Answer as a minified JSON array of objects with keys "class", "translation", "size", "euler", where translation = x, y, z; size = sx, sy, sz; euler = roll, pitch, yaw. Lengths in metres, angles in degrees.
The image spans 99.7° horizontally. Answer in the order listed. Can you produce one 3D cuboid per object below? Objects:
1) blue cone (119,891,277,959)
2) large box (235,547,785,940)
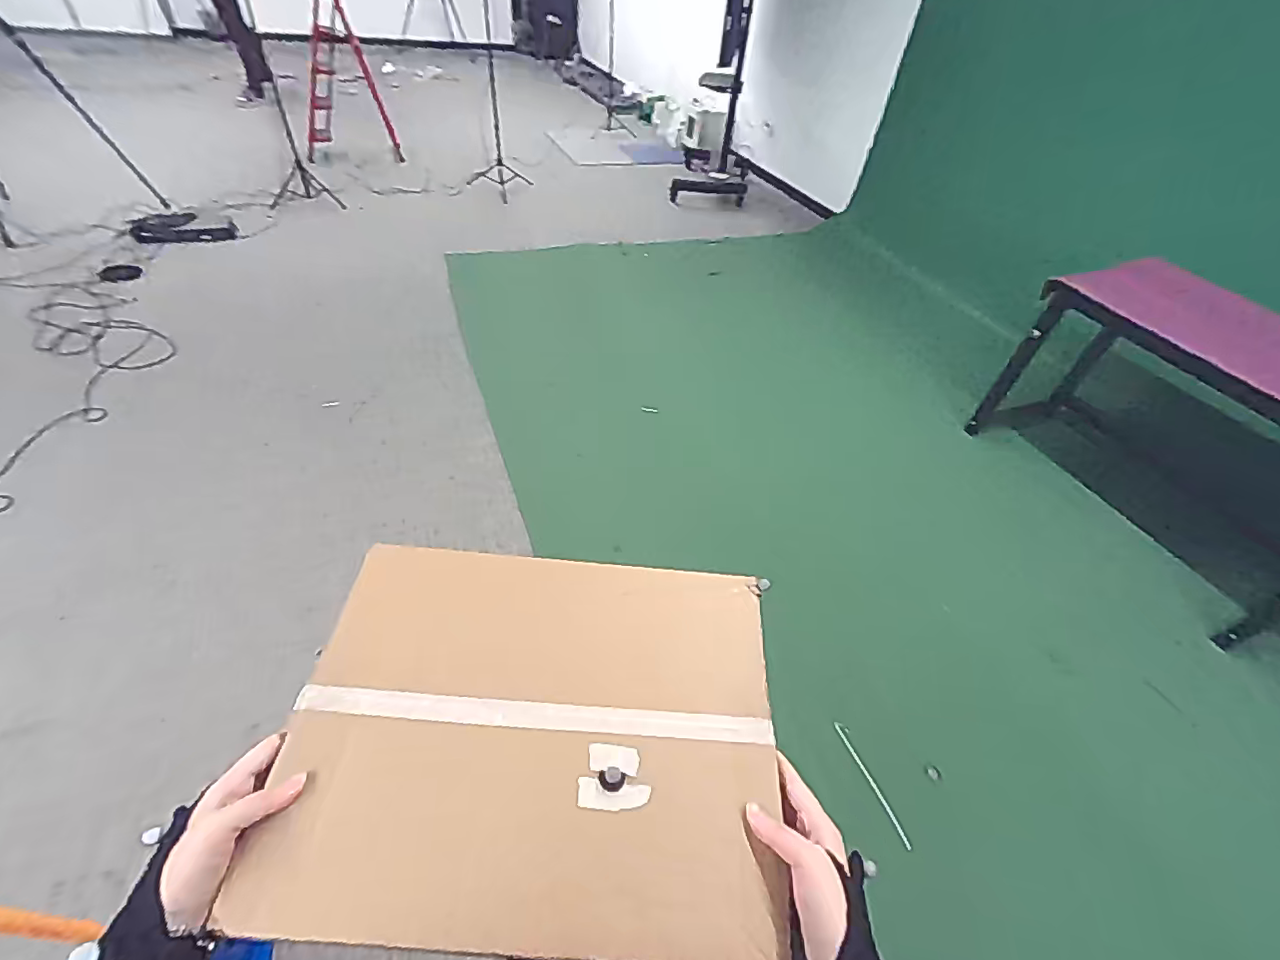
[{"class":"blue cone","translation":[-0.823,0.824,0.972],"size":[0.192,0.380,0.193],"euler":[-5,47,-14]},{"class":"large box","translation":[-0.100,0.298,0.596],"size":[0.408,0.320,0.320],"euler":[6,50,-3]}]
